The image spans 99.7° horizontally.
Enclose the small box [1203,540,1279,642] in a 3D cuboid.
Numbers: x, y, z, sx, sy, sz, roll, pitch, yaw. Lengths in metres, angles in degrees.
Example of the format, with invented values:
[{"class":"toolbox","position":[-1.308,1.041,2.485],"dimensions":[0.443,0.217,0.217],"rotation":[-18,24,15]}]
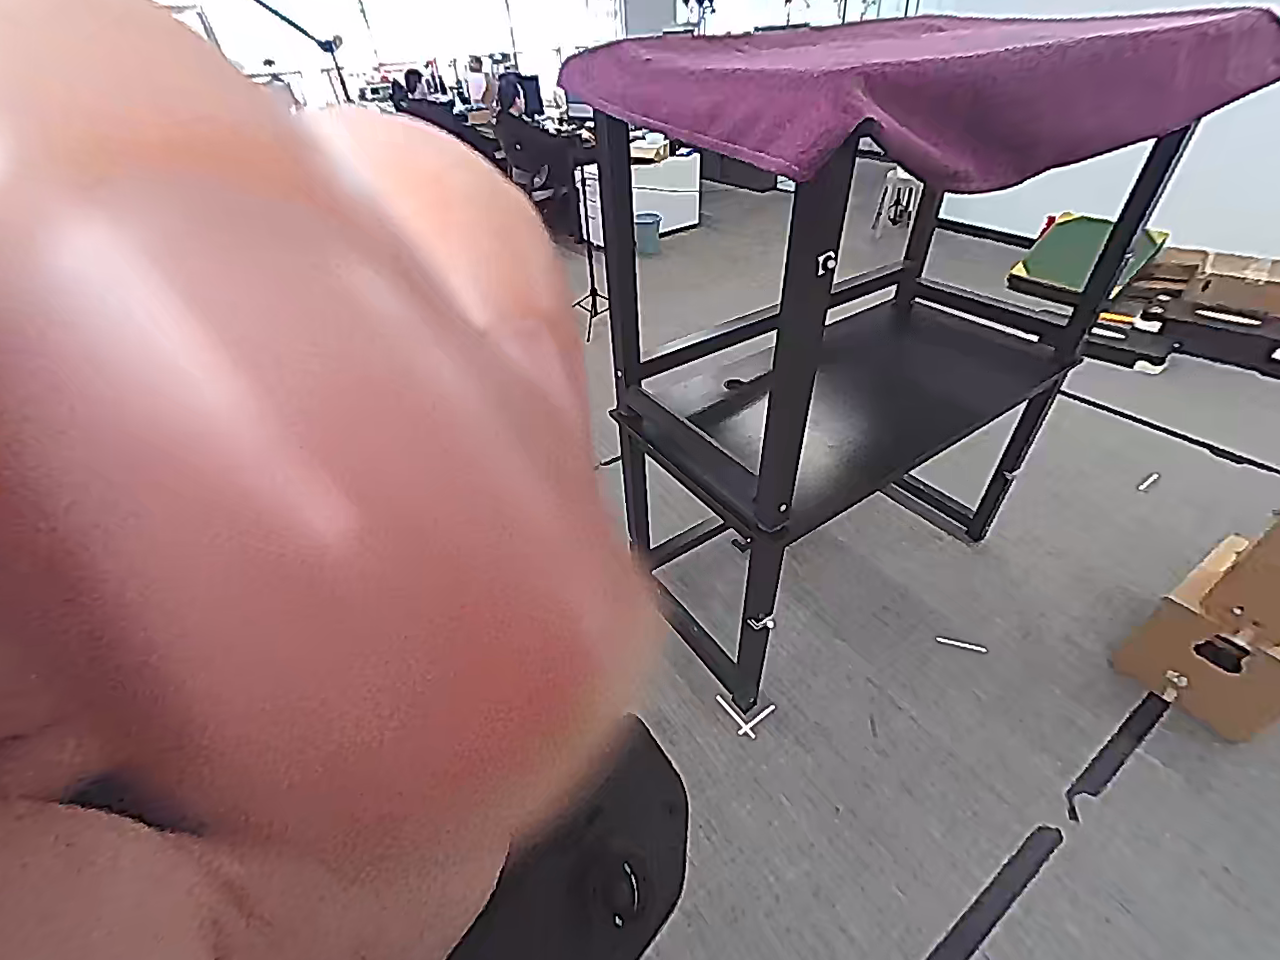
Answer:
[{"class":"small box","position":[1.545,0.255,1.317],"dimensions":[0.179,0.176,0.168],"rotation":[-26,44,-23]}]

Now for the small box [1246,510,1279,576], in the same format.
[{"class":"small box","position":[1.534,0.130,1.212],"dimensions":[0.179,0.176,0.168],"rotation":[-27,43,-26]}]

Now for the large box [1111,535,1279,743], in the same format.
[{"class":"large box","position":[1.626,0.426,1.487],"dimensions":[0.408,0.320,0.320],"rotation":[-24,45,-23]}]
